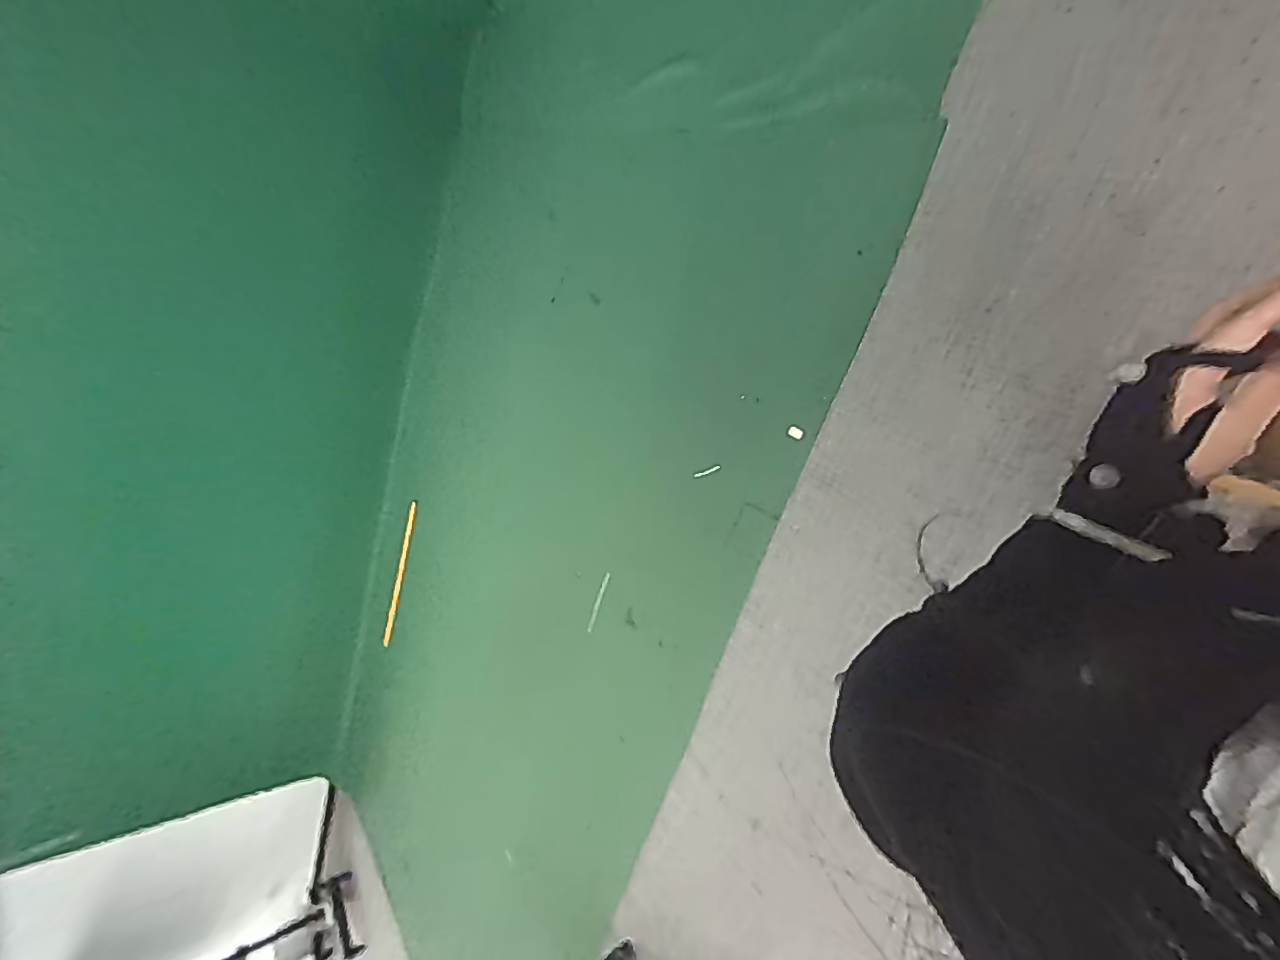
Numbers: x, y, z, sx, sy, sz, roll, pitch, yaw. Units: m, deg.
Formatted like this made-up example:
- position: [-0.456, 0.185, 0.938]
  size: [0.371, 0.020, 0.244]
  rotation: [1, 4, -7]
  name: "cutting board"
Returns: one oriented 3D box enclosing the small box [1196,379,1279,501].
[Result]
- position: [1.131, -0.060, 0.951]
  size: [0.168, 0.176, 0.179]
  rotation: [33, 112, 42]
  name: "small box"
